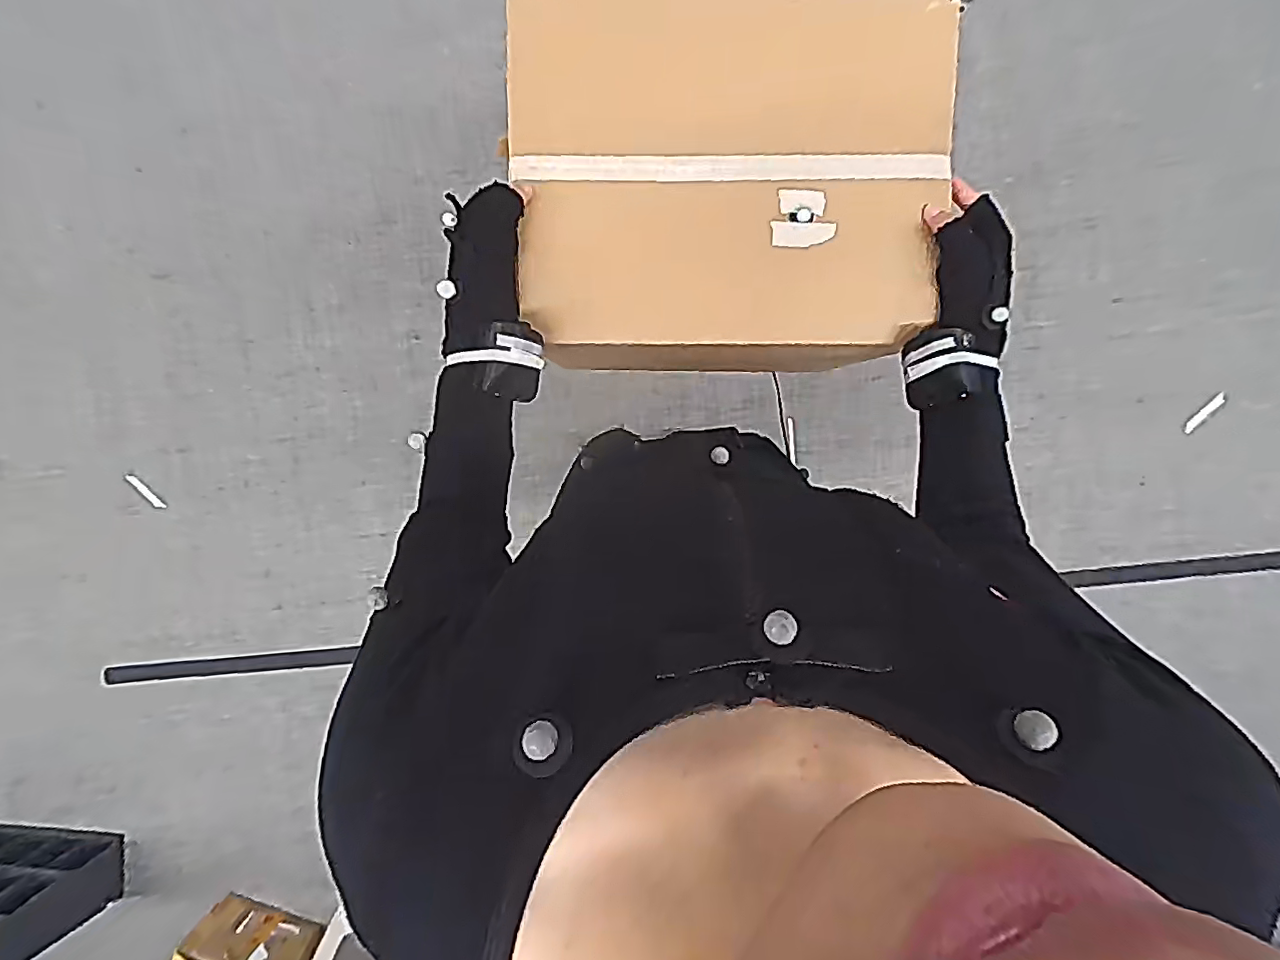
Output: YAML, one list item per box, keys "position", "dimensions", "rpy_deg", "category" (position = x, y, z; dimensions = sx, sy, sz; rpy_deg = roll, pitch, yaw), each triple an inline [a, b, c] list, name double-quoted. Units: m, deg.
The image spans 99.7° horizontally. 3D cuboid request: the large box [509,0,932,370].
- position: [0.076, -0.310, 0.668]
  dimensions: [0.408, 0.320, 0.320]
  rpy_deg: [-1, 97, -1]
  category: "large box"
